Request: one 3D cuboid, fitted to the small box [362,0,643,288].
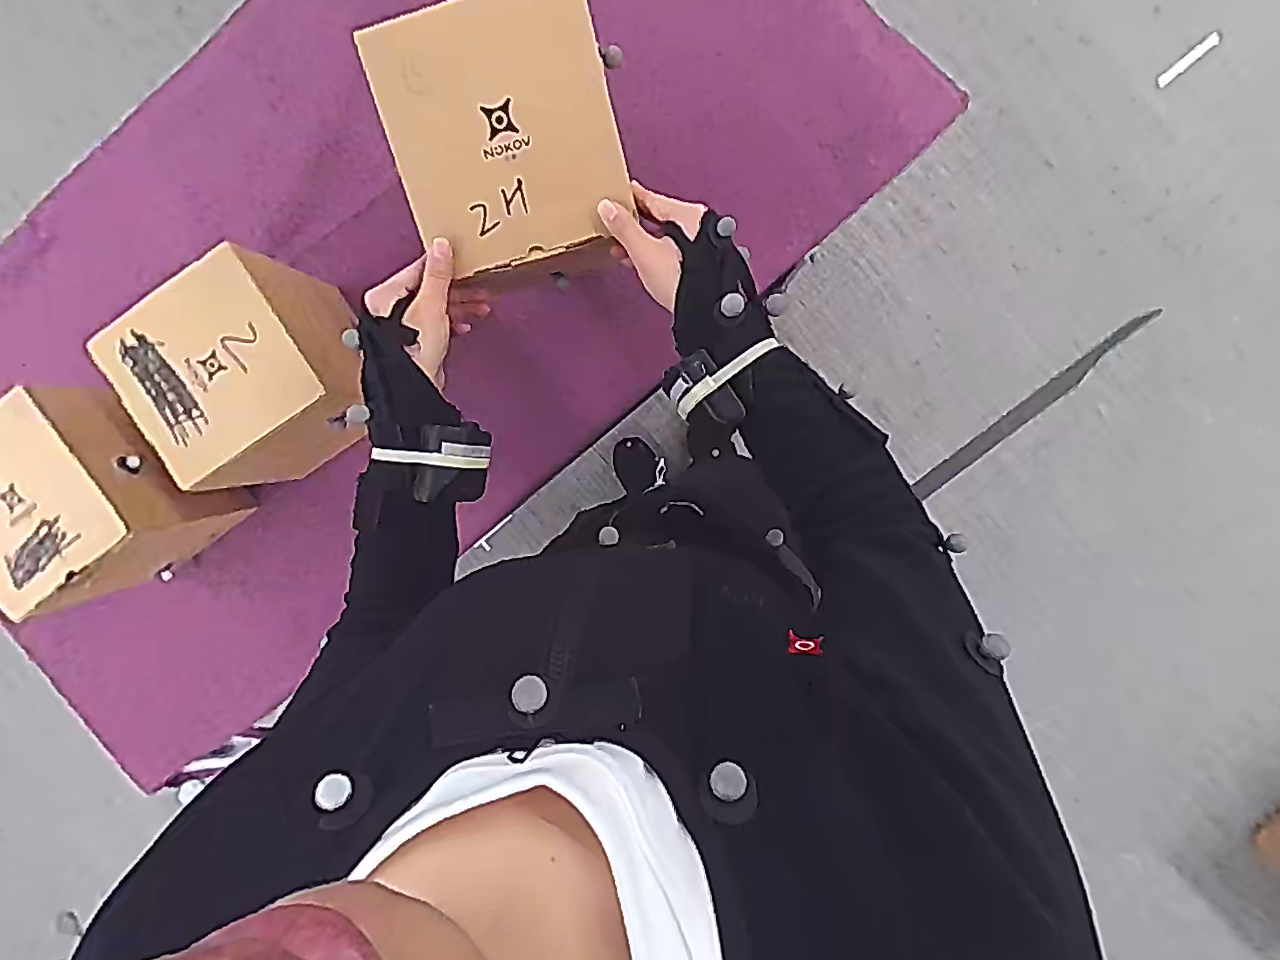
[{"bbox_3d":[-0.096,-0.278,0.467,0.168,0.176,0.179,-13,105,5],"label":"small box"}]

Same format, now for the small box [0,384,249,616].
[{"bbox_3d":[-0.597,0.013,0.601,0.168,0.176,0.179,-34,93,5],"label":"small box"}]
